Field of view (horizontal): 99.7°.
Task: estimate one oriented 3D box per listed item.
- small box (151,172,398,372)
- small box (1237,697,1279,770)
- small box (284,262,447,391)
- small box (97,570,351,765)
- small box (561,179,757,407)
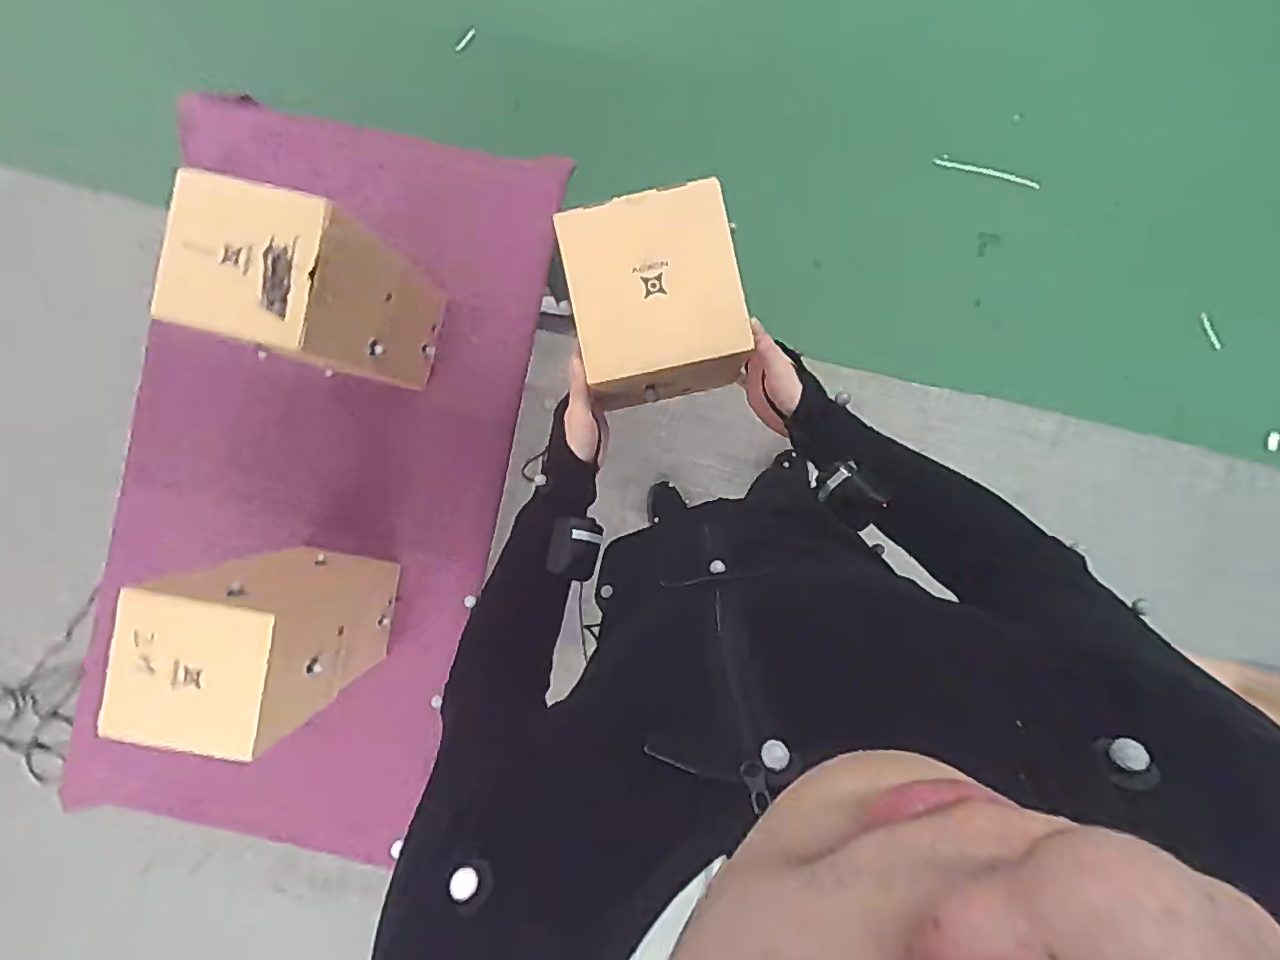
[{"bbox_3d":[-0.427,-0.237,0.662,0.179,0.176,0.168,13,92,3],"label":"small box"},{"bbox_3d":[1.836,0.718,1.495,0.179,0.176,0.168,6,91,1],"label":"small box"},{"bbox_3d":[-0.425,-0.241,0.826,0.179,0.176,0.168,14,92,1],"label":"small box"},{"bbox_3d":[-0.490,0.215,0.665,0.179,0.176,0.168,10,90,1],"label":"small box"},{"bbox_3d":[0.023,-0.185,0.595,0.168,0.176,0.179,-11,87,3],"label":"small box"}]
